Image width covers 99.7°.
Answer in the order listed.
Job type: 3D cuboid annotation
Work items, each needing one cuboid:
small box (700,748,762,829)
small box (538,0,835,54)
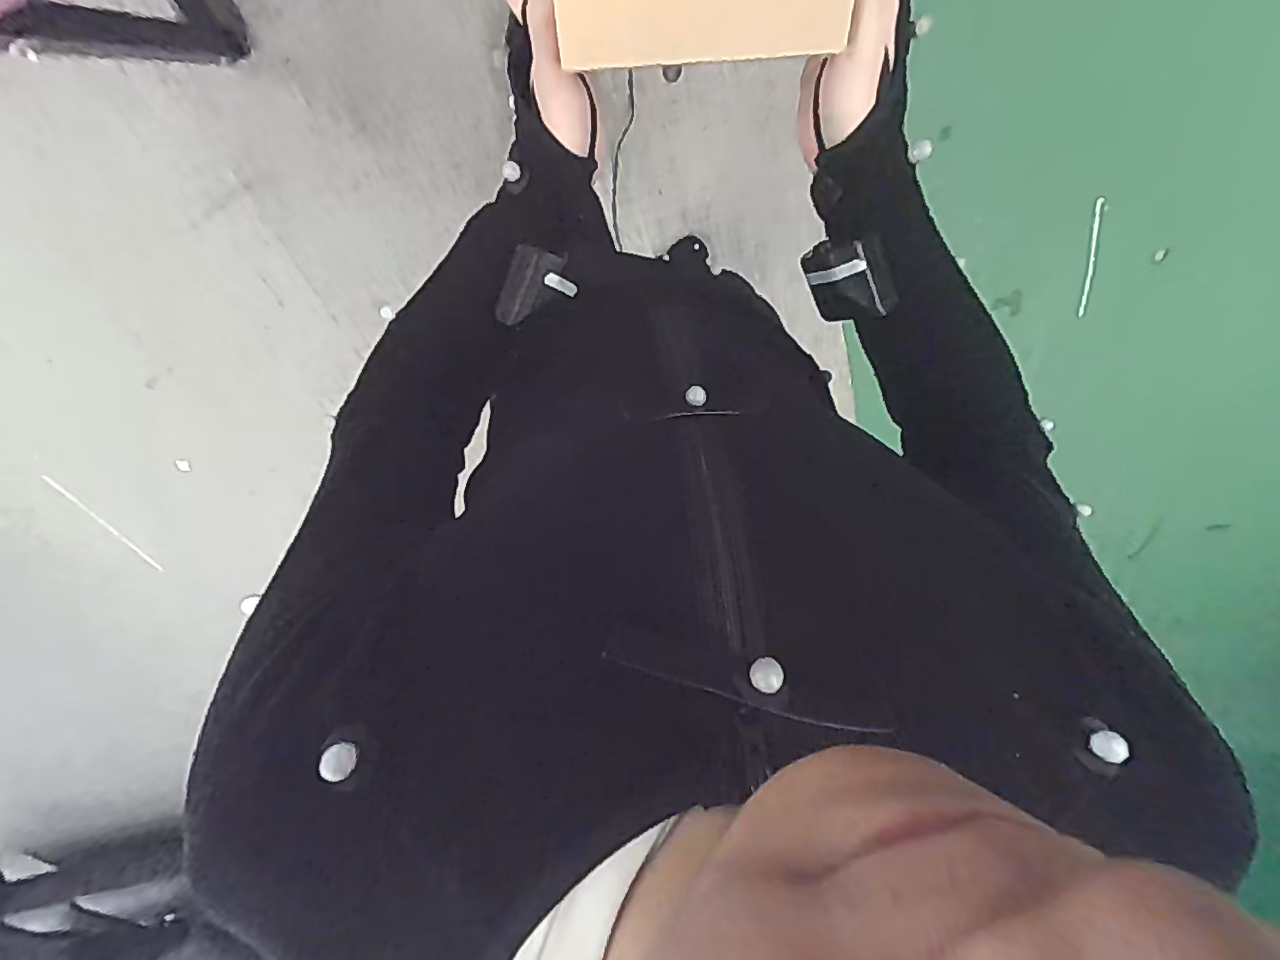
[{"bbox_3d":[0.293,0.990,1.738,0.168,0.176,0.179,-11,125,6],"label":"small box"},{"bbox_3d":[0.027,-0.366,0.314,0.168,0.176,0.179,1,132,6],"label":"small box"}]
